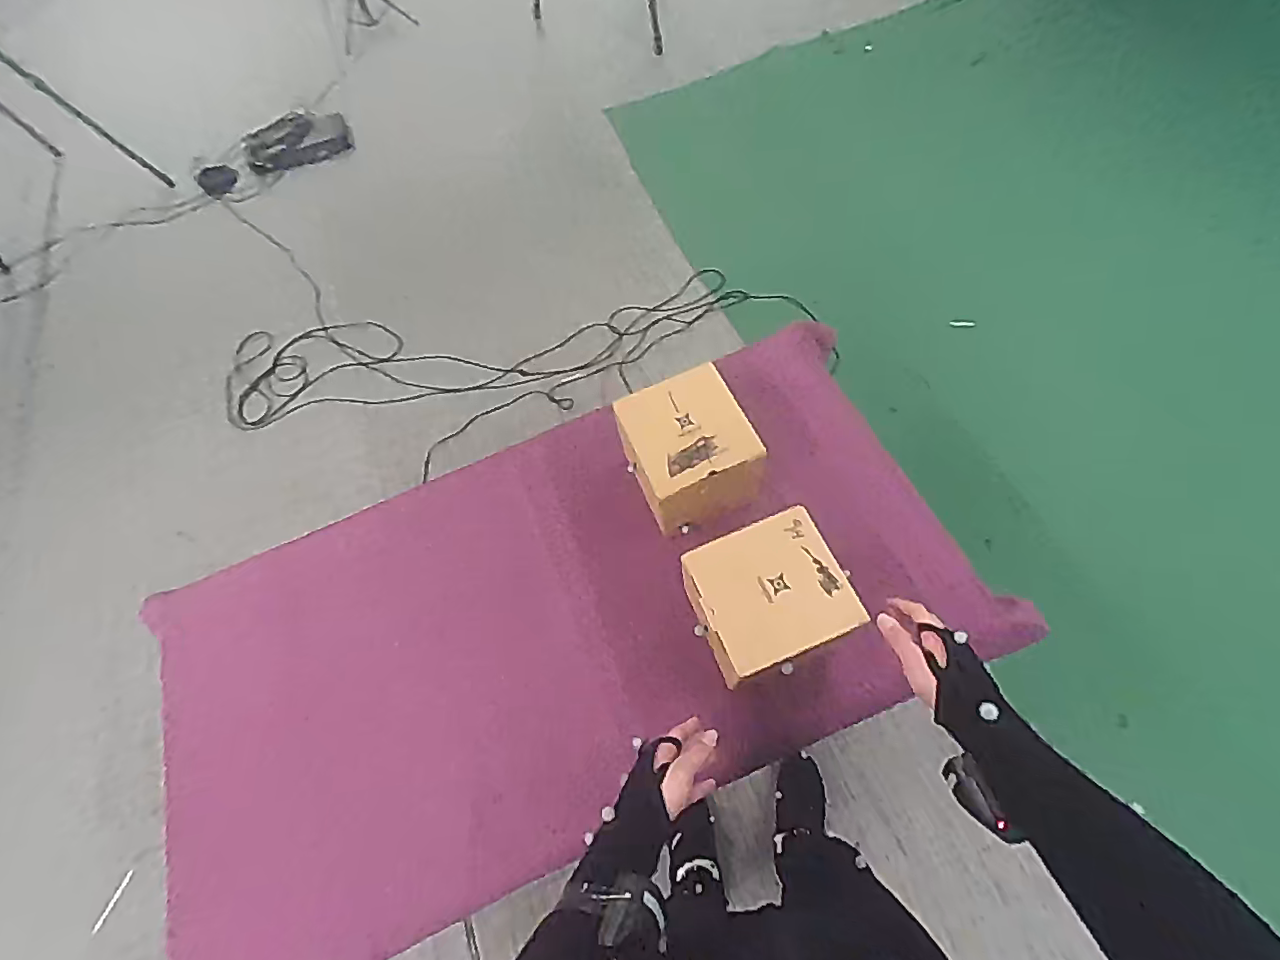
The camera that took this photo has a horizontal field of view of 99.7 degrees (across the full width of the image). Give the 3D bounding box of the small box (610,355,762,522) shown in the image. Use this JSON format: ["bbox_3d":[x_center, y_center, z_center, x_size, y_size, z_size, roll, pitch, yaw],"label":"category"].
[{"bbox_3d":[0.071,-0.052,0.831,0.168,0.176,0.179,-23,65,-4],"label":"small box"}]

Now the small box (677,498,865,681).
[{"bbox_3d":[0.165,0.155,0.724,0.179,0.176,0.168,-22,64,-3],"label":"small box"}]
